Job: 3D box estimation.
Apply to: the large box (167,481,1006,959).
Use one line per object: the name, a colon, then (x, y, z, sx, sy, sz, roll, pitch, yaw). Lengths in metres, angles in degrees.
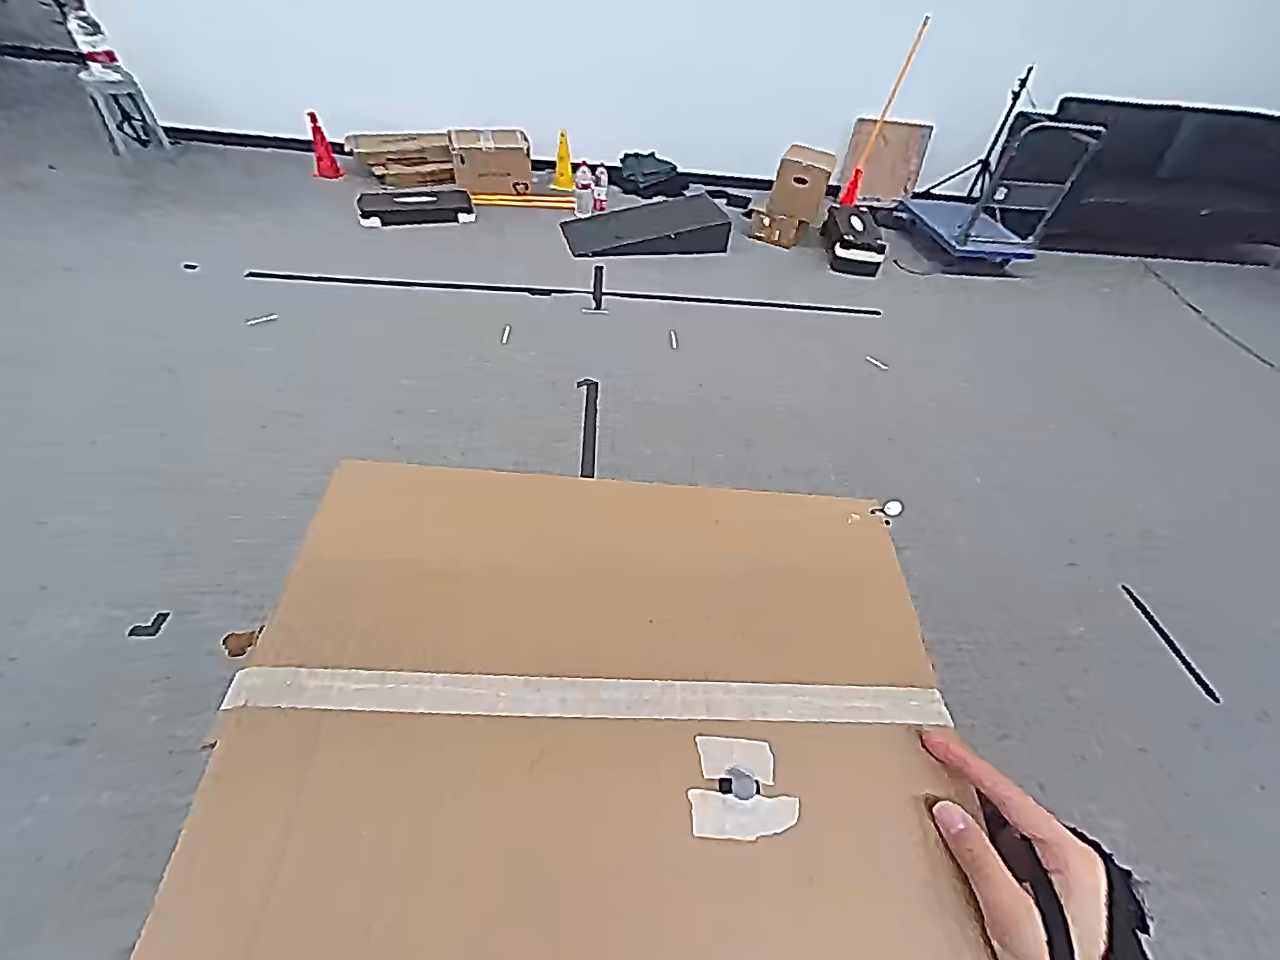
large box: (-0.034, 0.223, 0.441, 0.408, 0.320, 0.320, 4, 54, -7)
